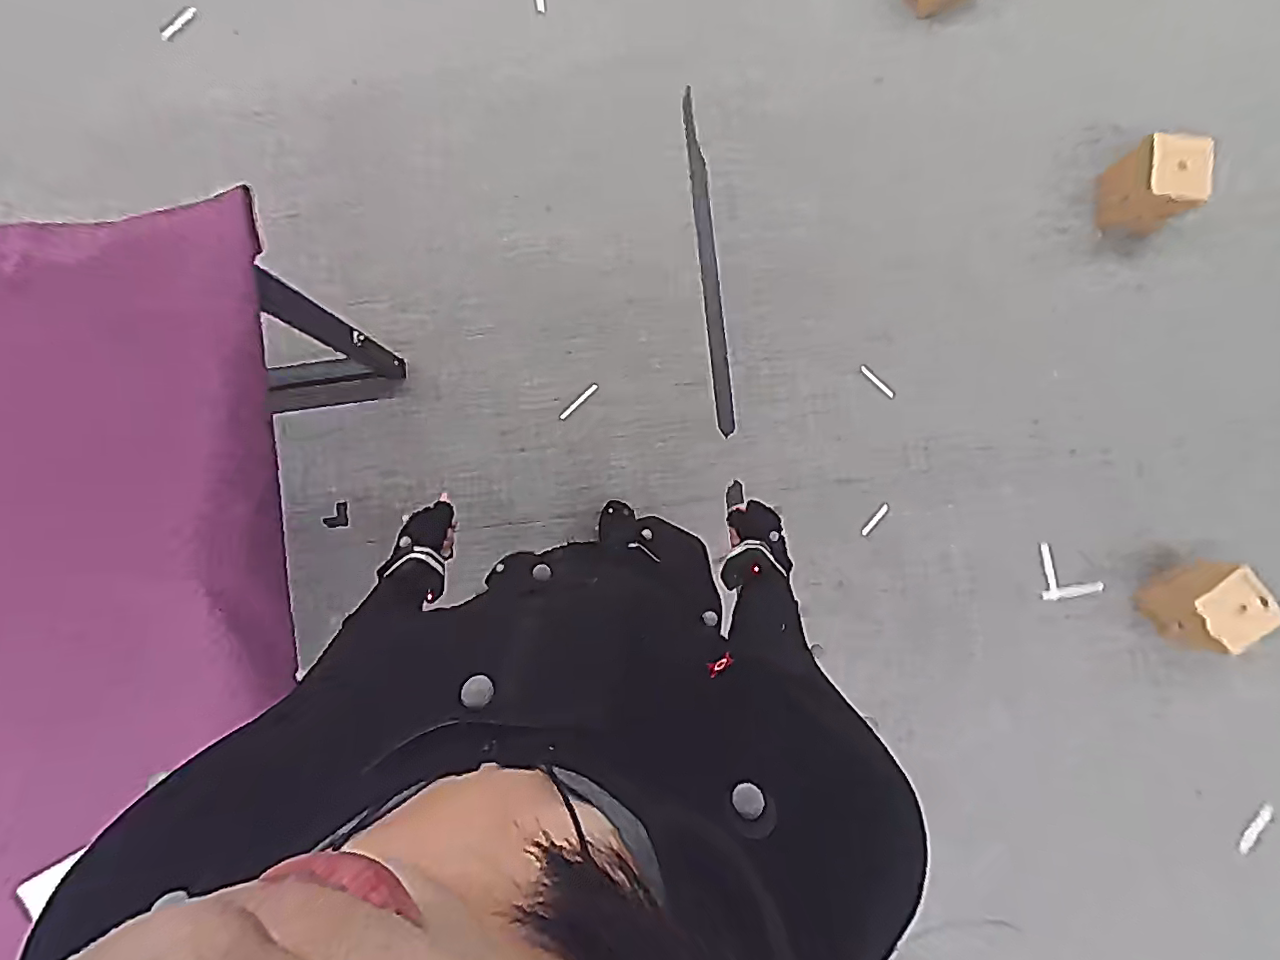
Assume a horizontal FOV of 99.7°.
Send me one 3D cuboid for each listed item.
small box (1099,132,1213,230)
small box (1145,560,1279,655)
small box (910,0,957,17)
[{"bbox_3d":[1.434,-0.828,1.514,0.168,0.176,0.179,6,85,-1],"label":"small box"},{"bbox_3d":[1.501,0.329,1.426,0.179,0.176,0.168,-35,86,-2],"label":"small box"},{"bbox_3d":[0.885,-1.505,1.556,0.179,0.176,0.168,-29,86,-1],"label":"small box"}]
